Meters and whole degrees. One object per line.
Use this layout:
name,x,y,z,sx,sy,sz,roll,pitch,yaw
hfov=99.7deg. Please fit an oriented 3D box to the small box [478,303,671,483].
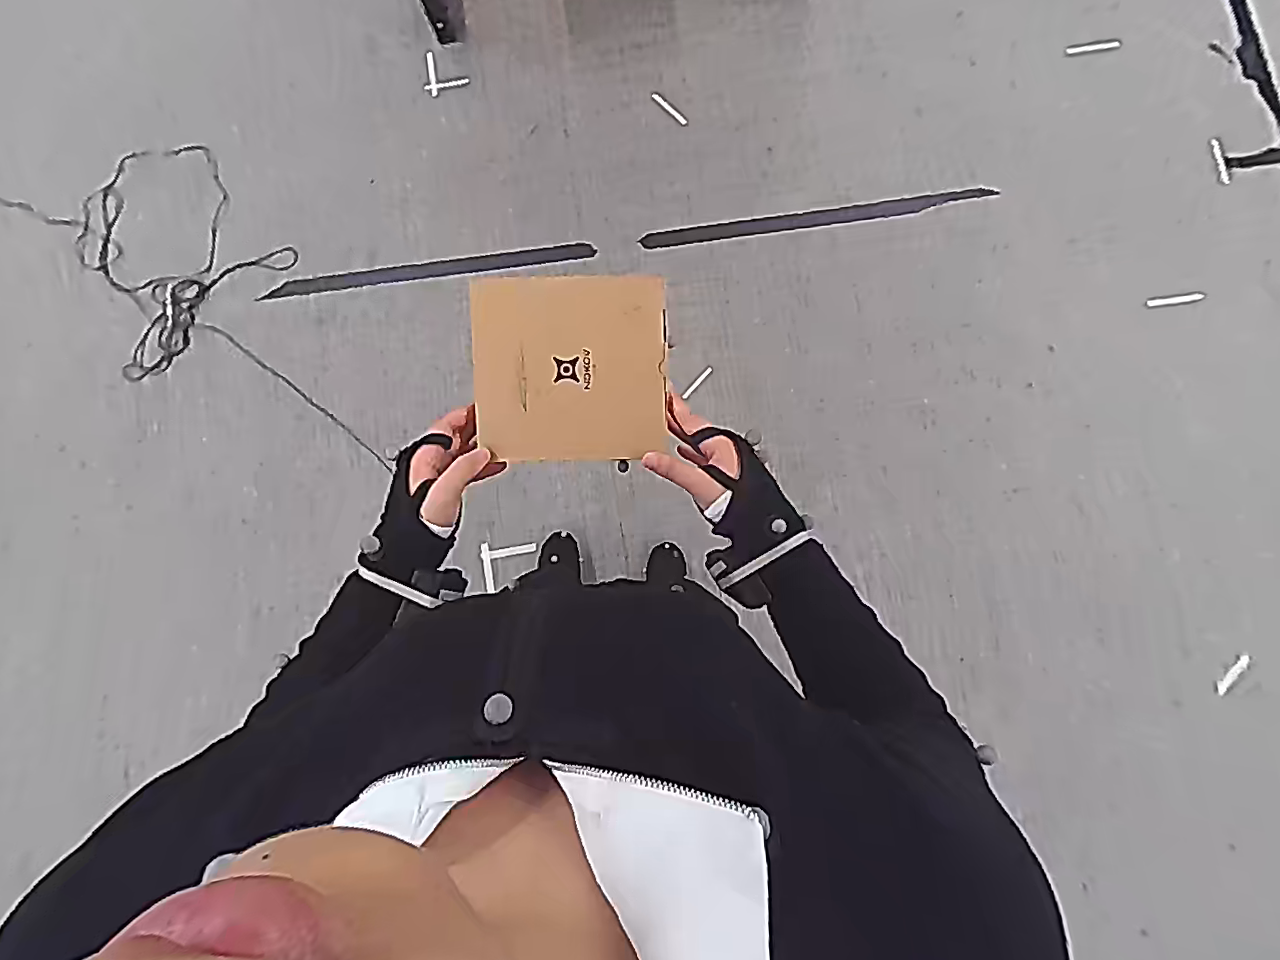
small box,-0.062,-0.086,0.584,0.179,0.176,0.168,-3,93,0
